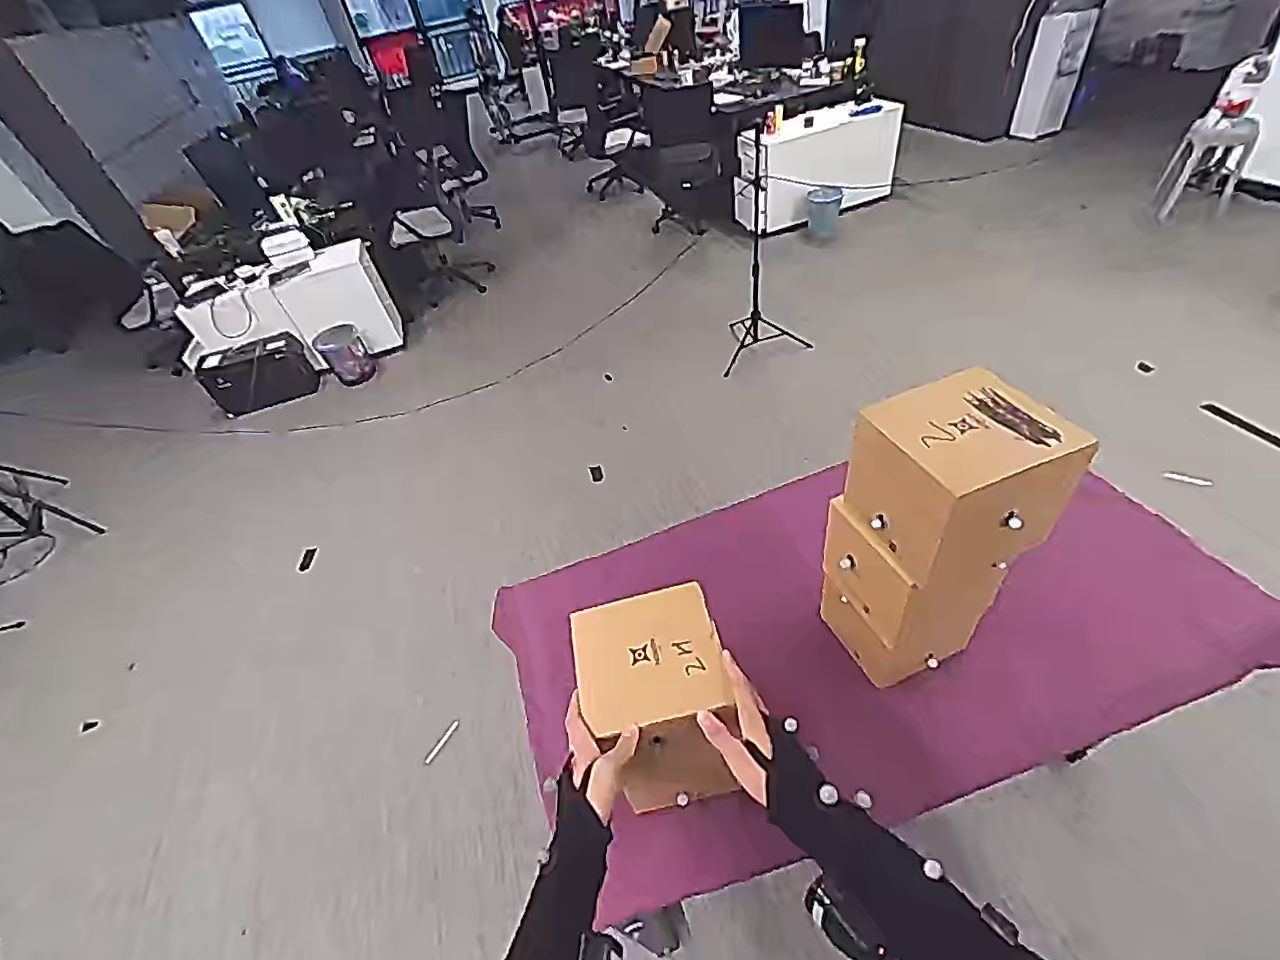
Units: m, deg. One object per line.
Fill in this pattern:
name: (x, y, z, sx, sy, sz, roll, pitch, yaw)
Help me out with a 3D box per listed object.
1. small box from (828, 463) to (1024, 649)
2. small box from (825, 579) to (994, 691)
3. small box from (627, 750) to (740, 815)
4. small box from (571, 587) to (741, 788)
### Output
small box: (0.388, 0.110, 0.771, 0.179, 0.176, 0.168, -21, 44, -9)
small box: (0.428, 0.213, 0.894, 0.179, 0.176, 0.168, -21, 43, -10)
small box: (0.048, 0.372, 0.816, 0.168, 0.176, 0.179, -13, 44, -1)
small box: (0.022, 0.268, 0.691, 0.179, 0.176, 0.168, -13, 44, -1)
